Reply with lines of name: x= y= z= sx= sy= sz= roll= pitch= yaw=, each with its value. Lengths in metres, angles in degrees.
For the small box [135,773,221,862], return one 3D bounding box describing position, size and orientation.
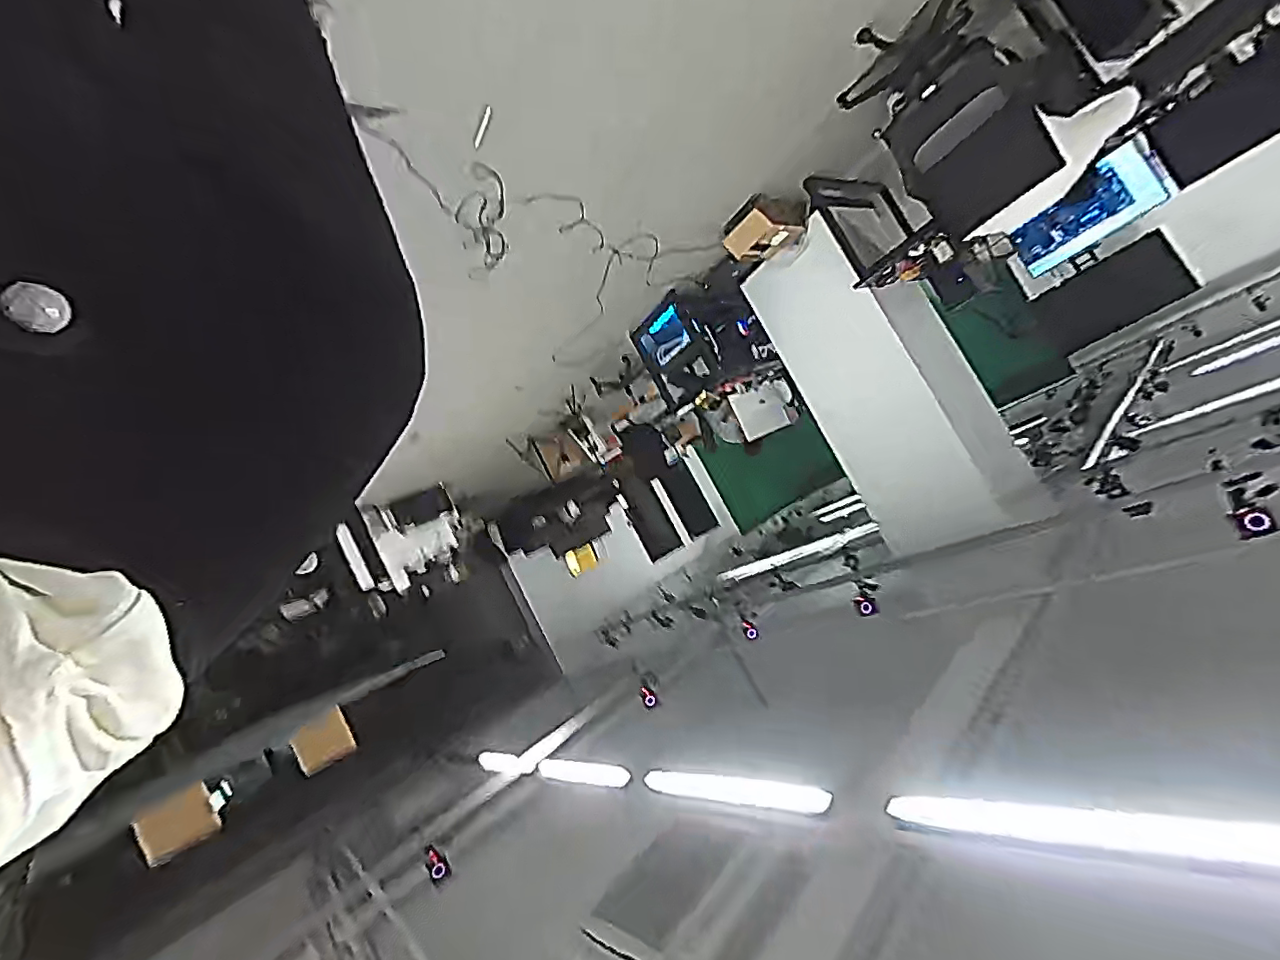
small box: x=-1.481 y=1.072 z=1.733 sx=0.179 sy=0.176 sz=0.168 roll=-23 pitch=174 yaw=-42
